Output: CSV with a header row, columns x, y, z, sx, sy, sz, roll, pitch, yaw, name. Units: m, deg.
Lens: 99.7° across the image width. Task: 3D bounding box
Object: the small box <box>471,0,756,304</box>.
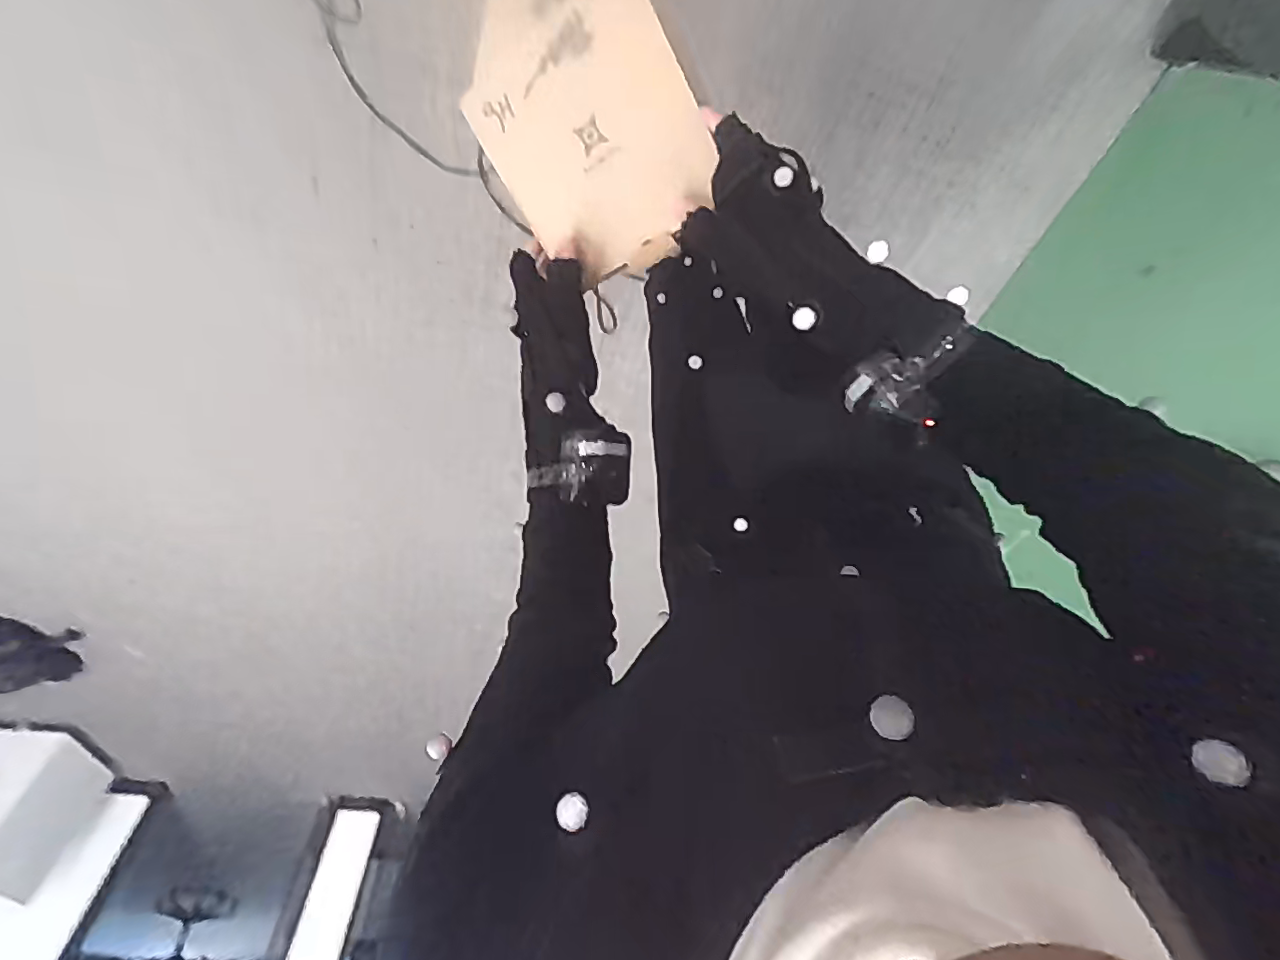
x,y,z,sx,sy,sz,roll,pitch,yaw,name
-0.007,-0.294,0.492,0.168,0.176,0.179,-26,109,28,small box
